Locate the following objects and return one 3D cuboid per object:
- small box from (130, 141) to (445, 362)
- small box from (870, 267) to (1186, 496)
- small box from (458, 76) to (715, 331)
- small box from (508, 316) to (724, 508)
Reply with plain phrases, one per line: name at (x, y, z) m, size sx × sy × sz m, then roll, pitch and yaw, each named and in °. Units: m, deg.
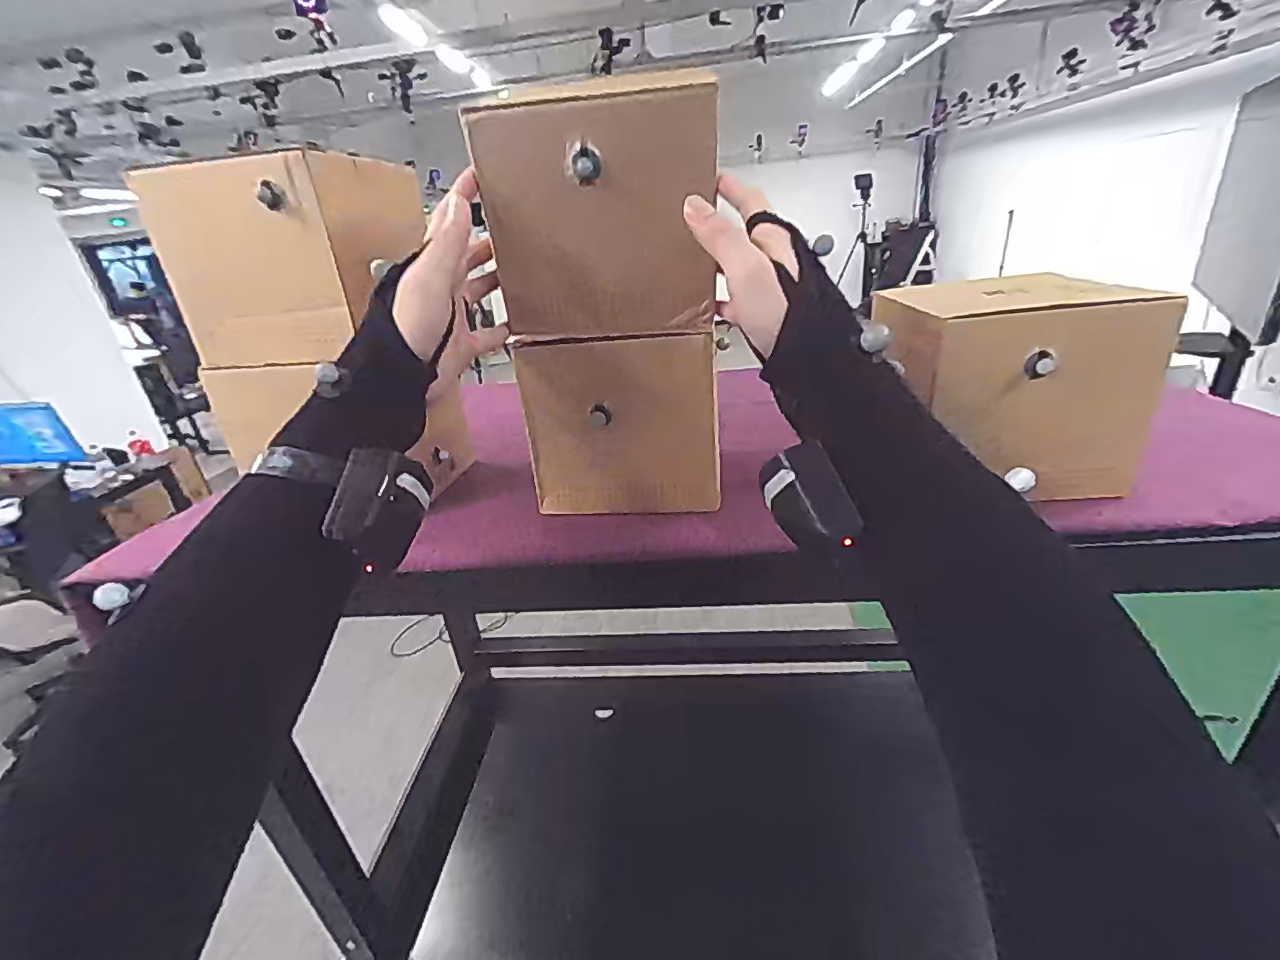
small box at (-0.324, -0.216, 0.537) m, size 0.179 × 0.176 × 0.168 m, roll 0°, pitch 24°, yaw 10°
small box at (0.324, -0.093, 0.499) m, size 0.179 × 0.176 × 0.168 m, roll -4°, pitch 25°, yaw 7°
small box at (-0.026, -0.236, 0.466) m, size 0.179 × 0.176 × 0.168 m, roll -1°, pitch 38°, yaw 5°
small box at (-0.009, -0.078, 0.552) m, size 0.179 × 0.176 × 0.168 m, roll -3°, pitch 24°, yaw 10°
